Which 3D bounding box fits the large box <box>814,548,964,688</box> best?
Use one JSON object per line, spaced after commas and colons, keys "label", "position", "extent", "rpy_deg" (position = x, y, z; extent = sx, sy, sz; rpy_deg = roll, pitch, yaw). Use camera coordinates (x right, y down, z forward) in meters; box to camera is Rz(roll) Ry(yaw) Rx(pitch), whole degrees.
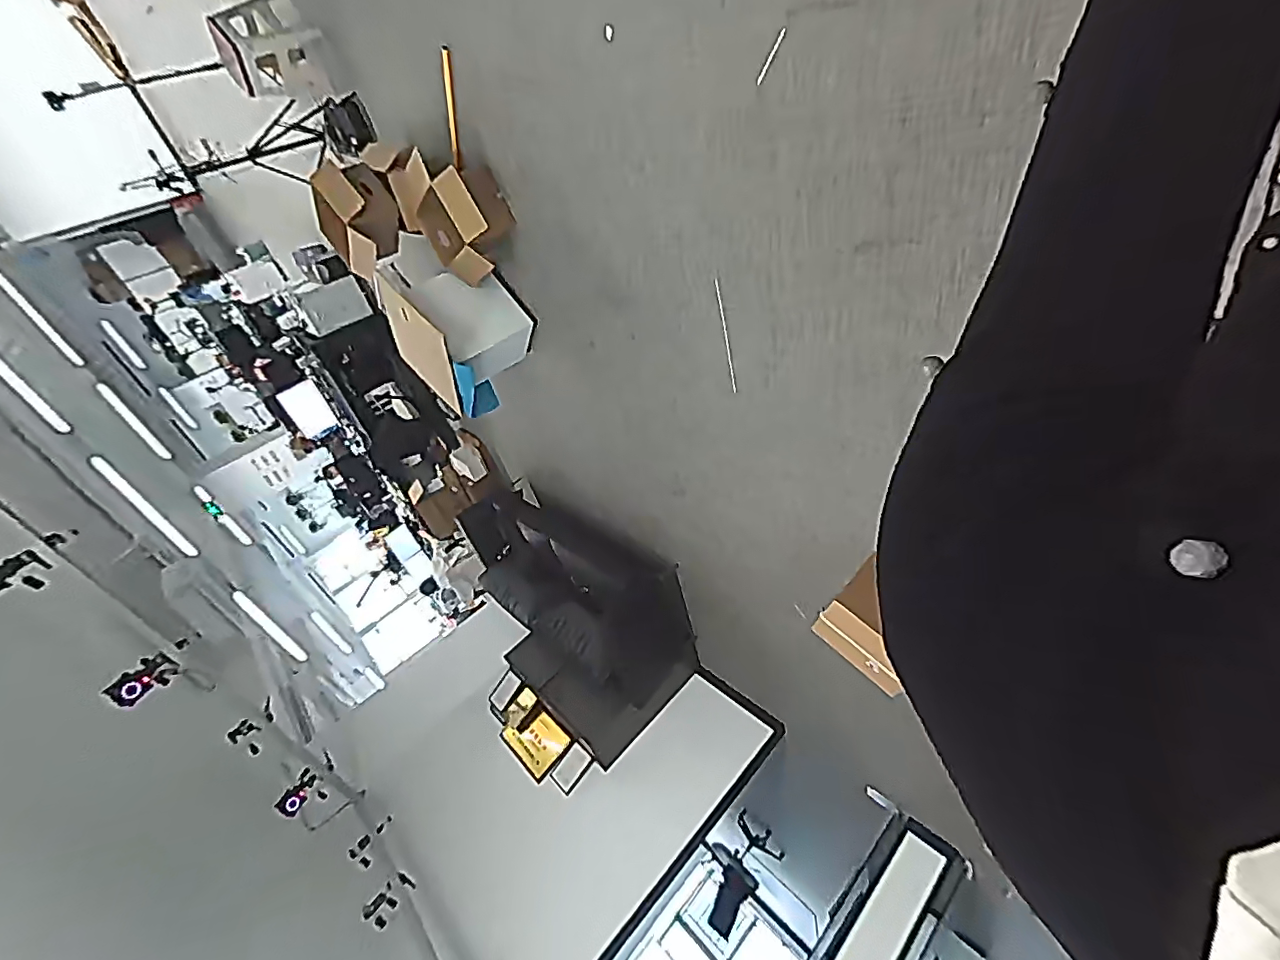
{"label": "large box", "position": [0.999, 0.558, 2.206], "extent": [0.408, 0.320, 0.320], "rpy_deg": [39, 151, 22]}
